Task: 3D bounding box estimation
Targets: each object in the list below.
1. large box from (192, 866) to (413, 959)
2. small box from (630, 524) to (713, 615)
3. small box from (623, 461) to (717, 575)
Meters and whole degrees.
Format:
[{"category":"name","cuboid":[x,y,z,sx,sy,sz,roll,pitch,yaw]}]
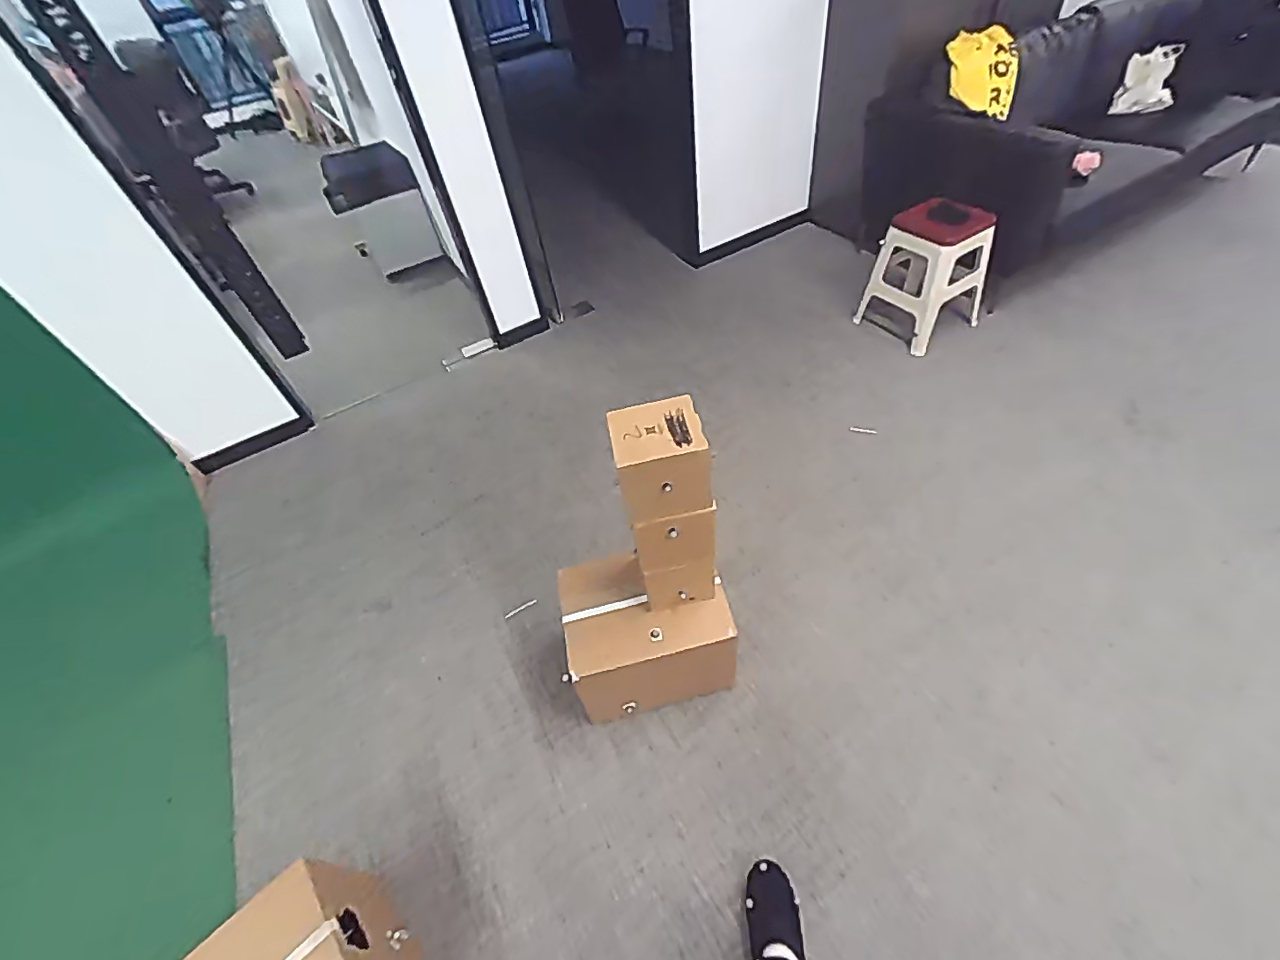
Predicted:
[{"category":"large box","cuboid":[-0.681,1.032,1.006,0.408,0.320,0.320,-39,53,-23]},{"category":"small box","cuboid":[0.077,0.200,1.315,0.168,0.176,0.179,-13,46,-2]},{"category":"small box","cuboid":[0.066,0.087,1.200,0.179,0.176,0.168,-12,46,-1]}]
